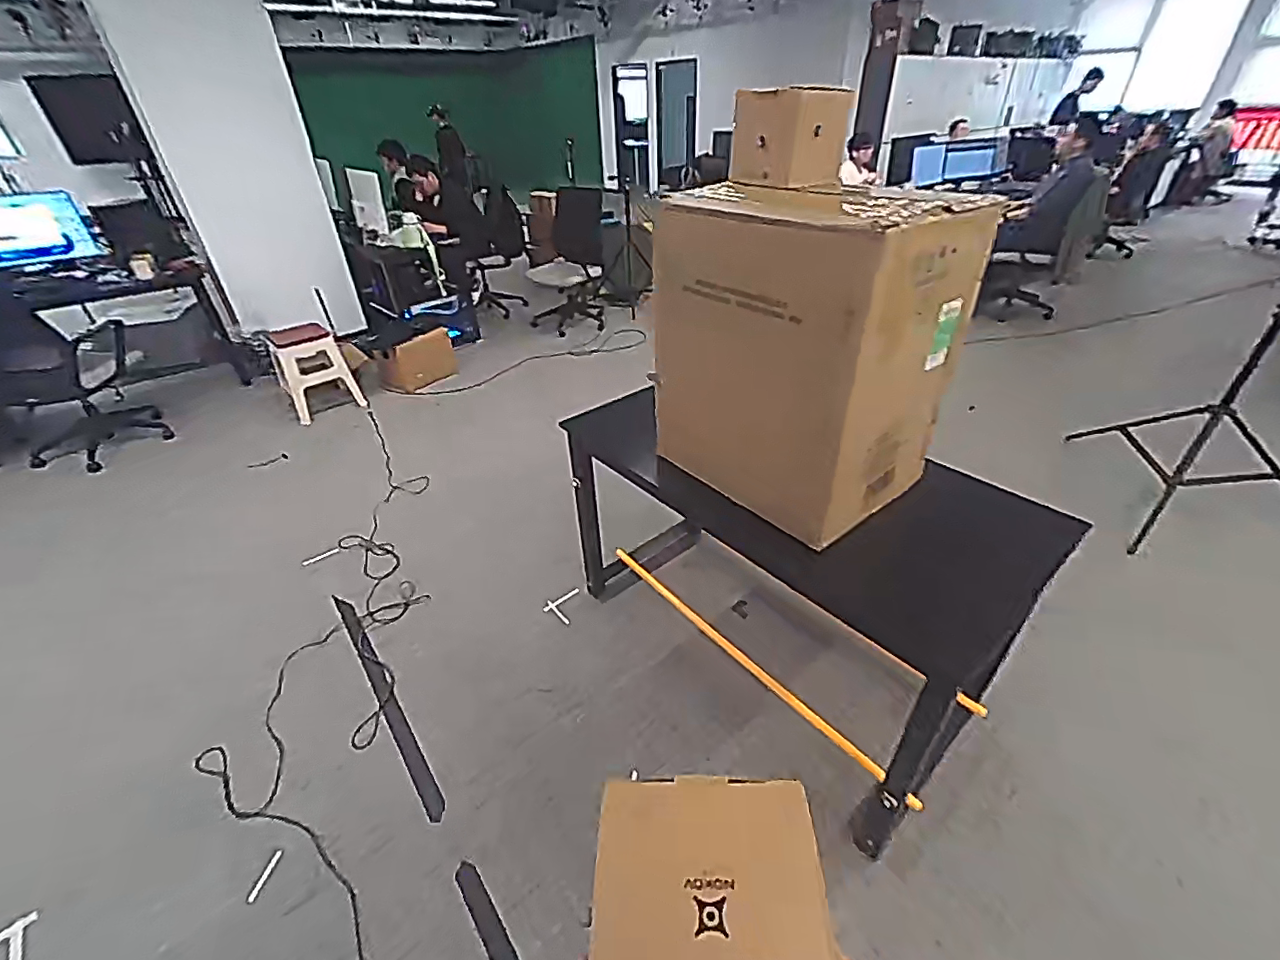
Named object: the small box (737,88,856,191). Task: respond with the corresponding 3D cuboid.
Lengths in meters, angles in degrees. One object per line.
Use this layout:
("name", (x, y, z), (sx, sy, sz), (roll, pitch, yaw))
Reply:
("small box", (0.318, -0.709, 1.129), (0.179, 0.176, 0.168), (-25, 42, -32))

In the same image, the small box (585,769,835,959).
("small box", (0.048, 0.357, 0.425), (0.168, 0.176, 0.179), (-1, 37, 3))
